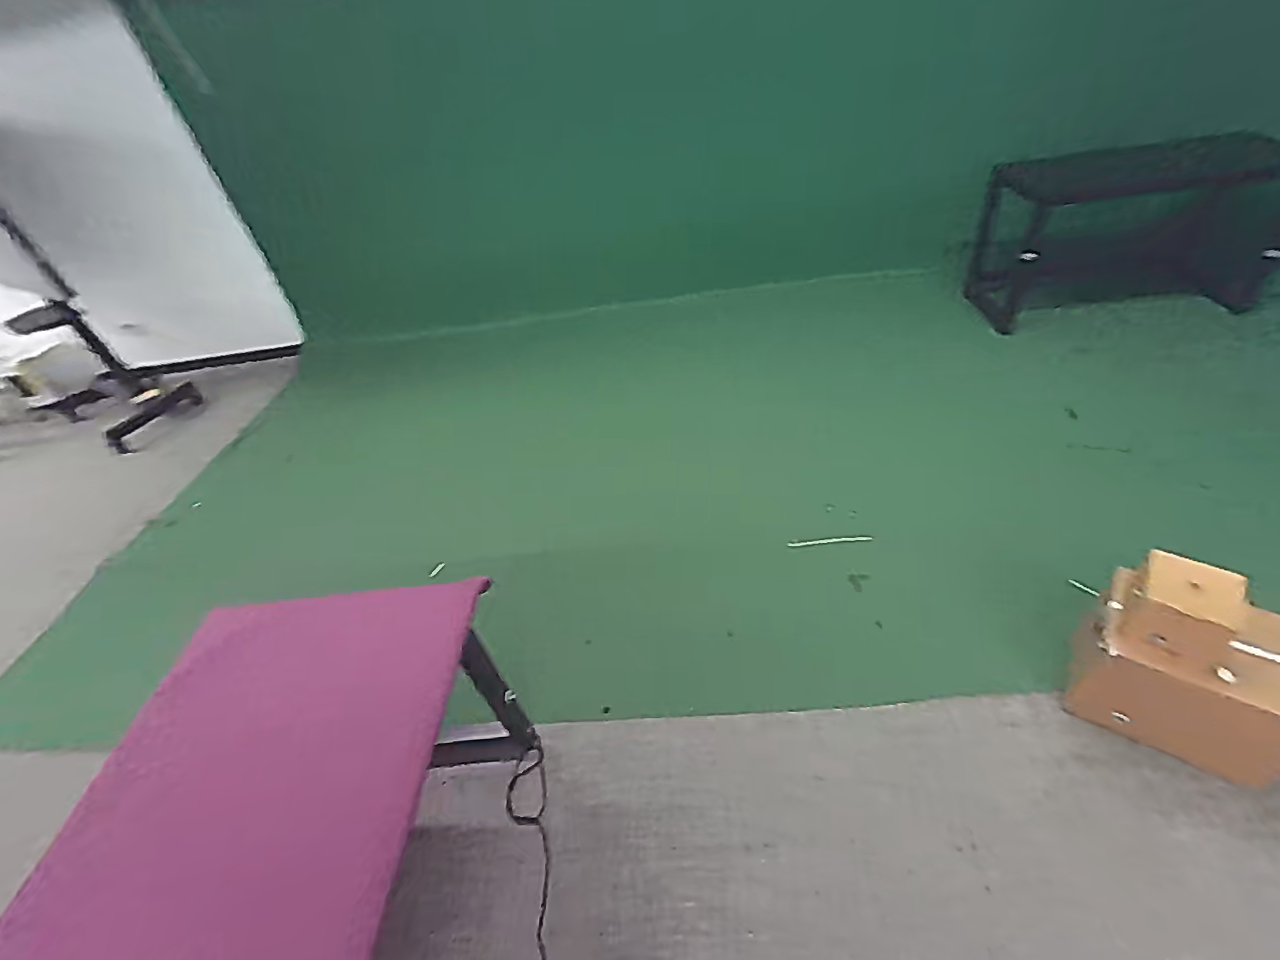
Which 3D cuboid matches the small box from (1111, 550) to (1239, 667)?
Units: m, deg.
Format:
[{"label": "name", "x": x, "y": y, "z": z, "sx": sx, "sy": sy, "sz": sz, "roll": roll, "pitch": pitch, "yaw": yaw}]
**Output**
[{"label": "small box", "x": 1.277, "y": 0.307, "z": 1.298, "sx": 0.168, "sy": 0.176, "sz": 0.179, "roll": 23, "pitch": 52, "yaw": 31}]
